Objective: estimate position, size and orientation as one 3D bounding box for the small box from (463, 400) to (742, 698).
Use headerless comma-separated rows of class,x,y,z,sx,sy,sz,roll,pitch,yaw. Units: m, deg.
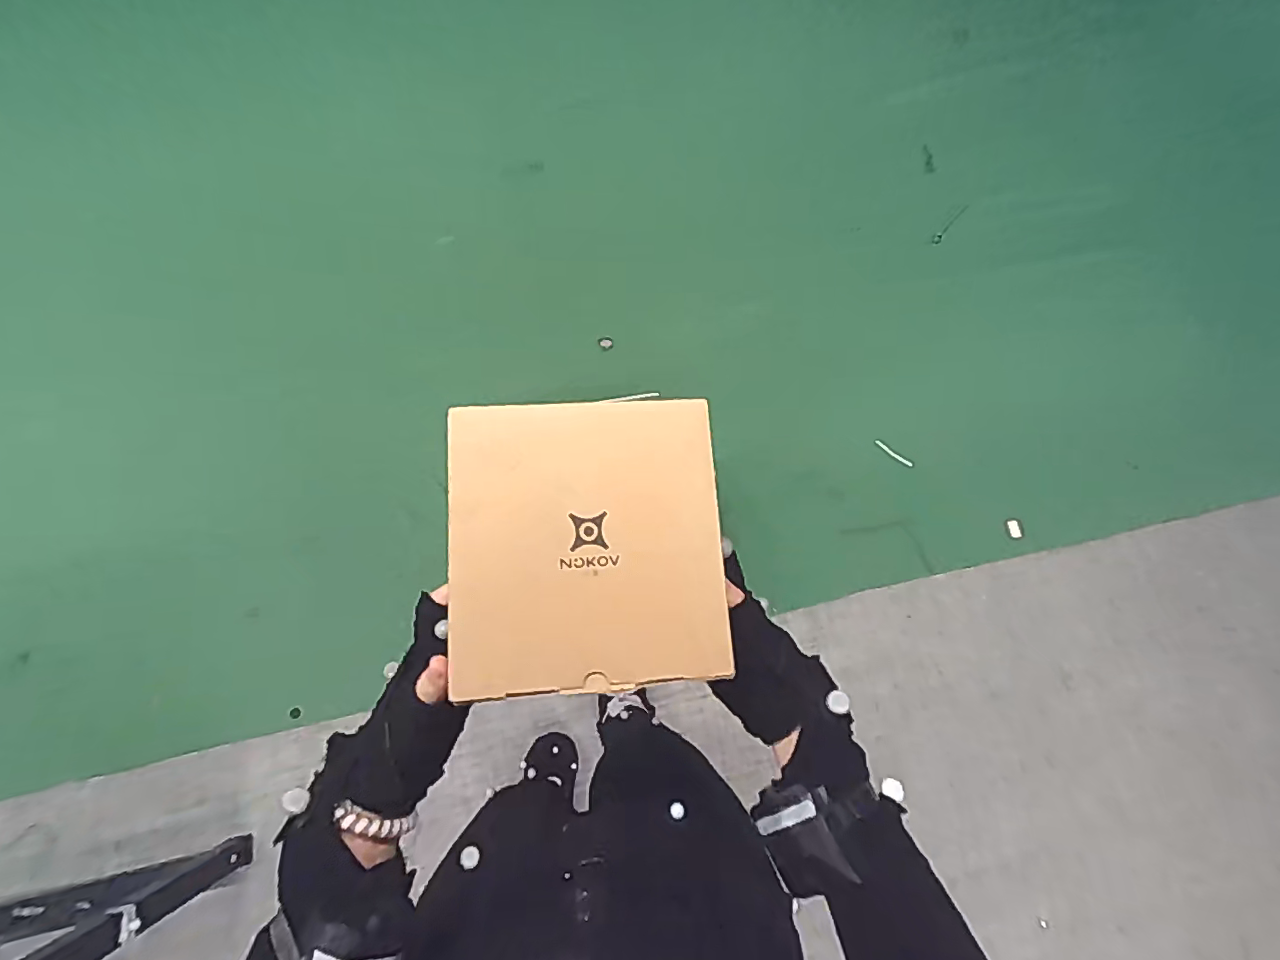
small box,-0.035,0.051,0.407,0.168,0.176,0.179,-3,80,-8
